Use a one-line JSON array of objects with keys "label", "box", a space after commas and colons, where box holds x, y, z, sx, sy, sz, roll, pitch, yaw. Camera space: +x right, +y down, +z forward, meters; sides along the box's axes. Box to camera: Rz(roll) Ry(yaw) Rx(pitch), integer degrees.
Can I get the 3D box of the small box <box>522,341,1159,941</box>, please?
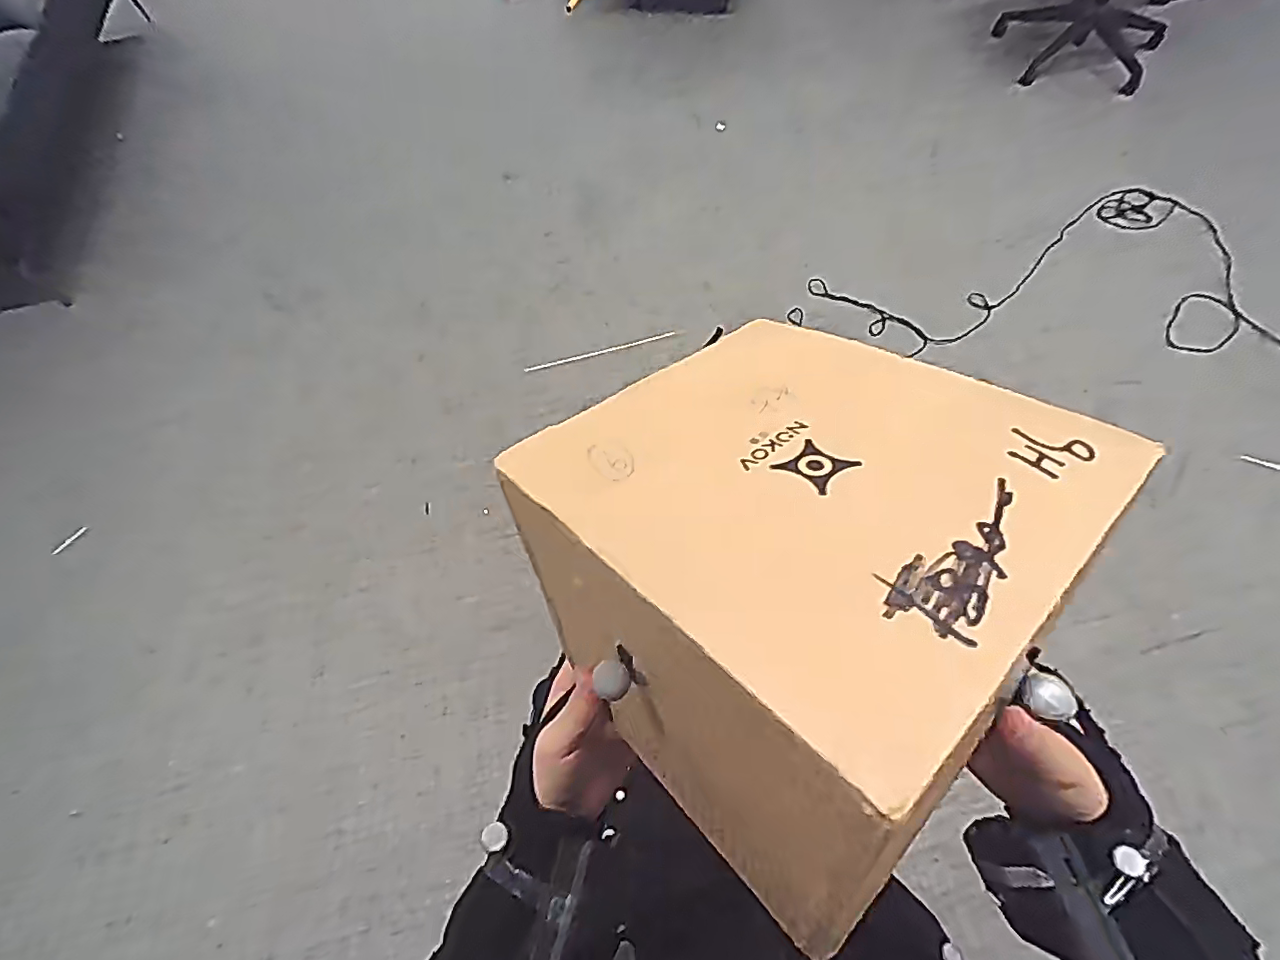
[{"label": "small box", "box": [0.074, 0.060, 0.256, 0.168, 0.176, 0.179, -34, 45, -26]}]
